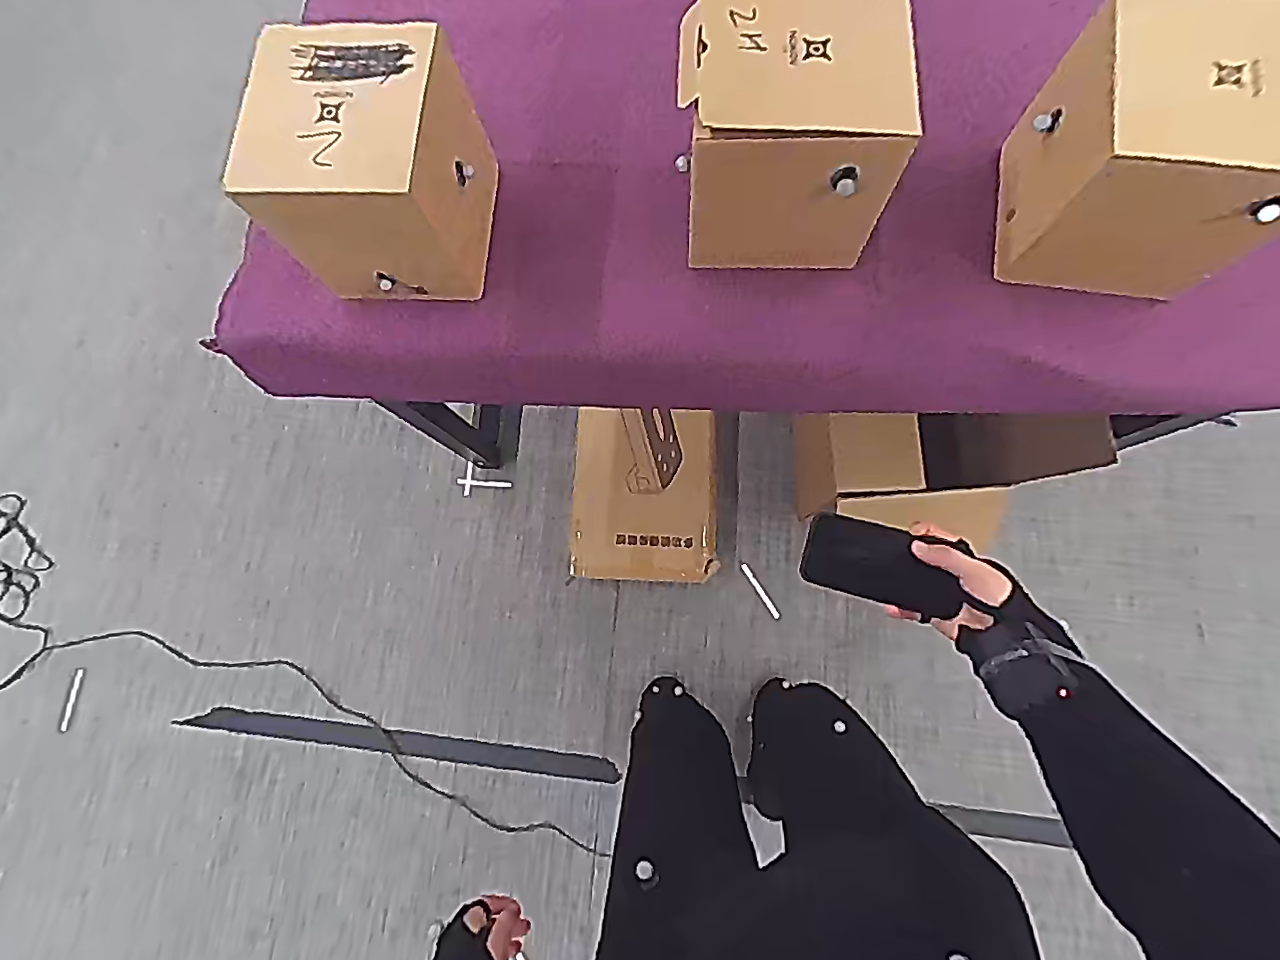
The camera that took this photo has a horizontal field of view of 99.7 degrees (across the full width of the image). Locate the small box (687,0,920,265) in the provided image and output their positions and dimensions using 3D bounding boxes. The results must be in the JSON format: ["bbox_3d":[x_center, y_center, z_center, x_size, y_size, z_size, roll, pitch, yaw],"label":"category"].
[{"bbox_3d":[0.137,-0.325,0.513,0.179,0.176,0.168,2,76,5],"label":"small box"}]

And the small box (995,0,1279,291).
[{"bbox_3d":[0.452,-0.291,0.484,0.179,0.176,0.168,9,79,6],"label":"small box"}]
